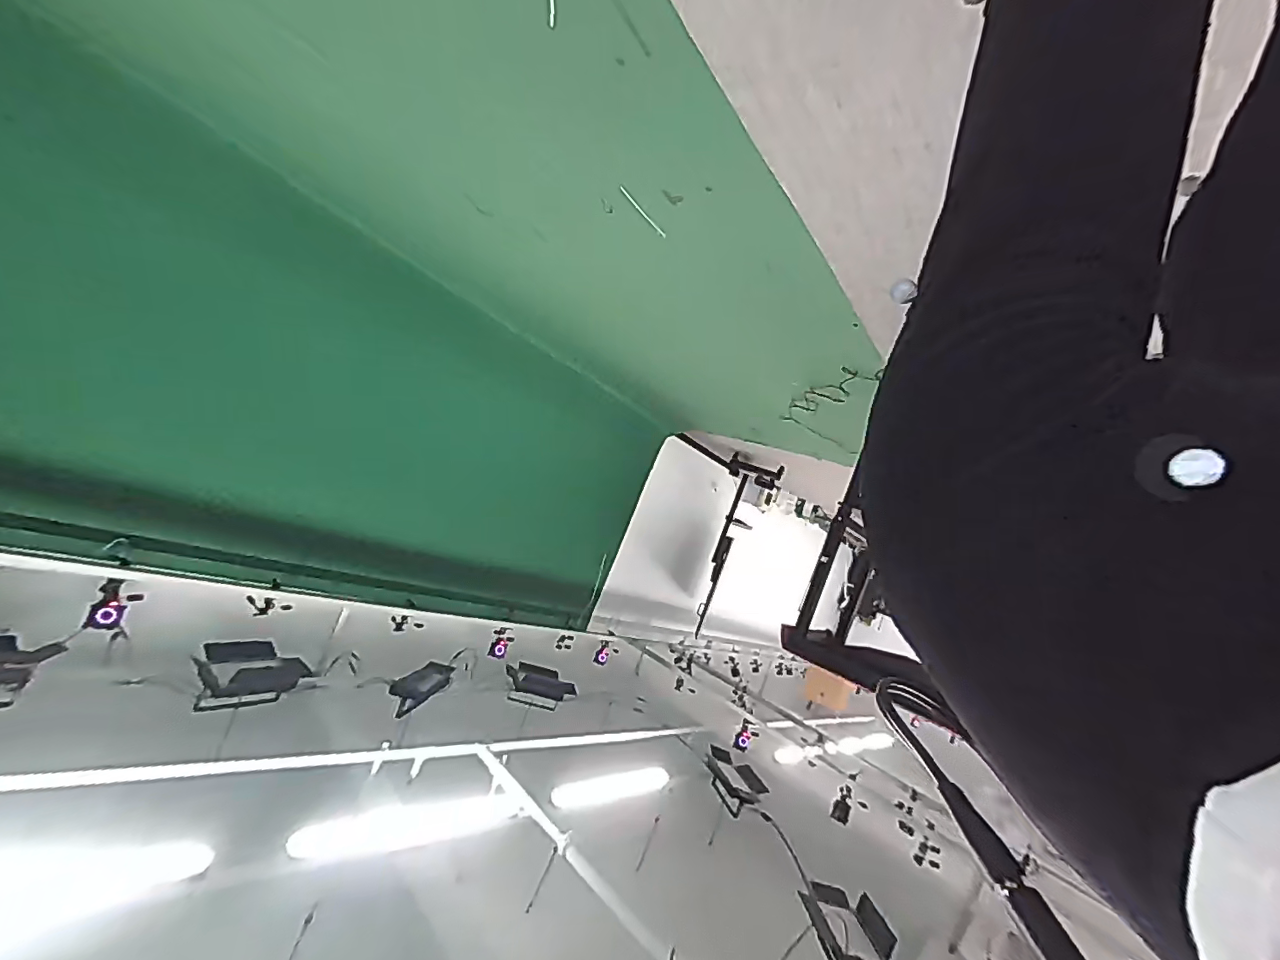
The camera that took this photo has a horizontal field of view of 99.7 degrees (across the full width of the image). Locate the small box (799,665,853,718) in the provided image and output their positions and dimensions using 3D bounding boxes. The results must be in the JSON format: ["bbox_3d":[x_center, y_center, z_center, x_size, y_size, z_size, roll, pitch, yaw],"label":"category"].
[{"bbox_3d":[0.860,0.964,2.477,0.179,0.176,0.168,18,173,39],"label":"small box"}]
